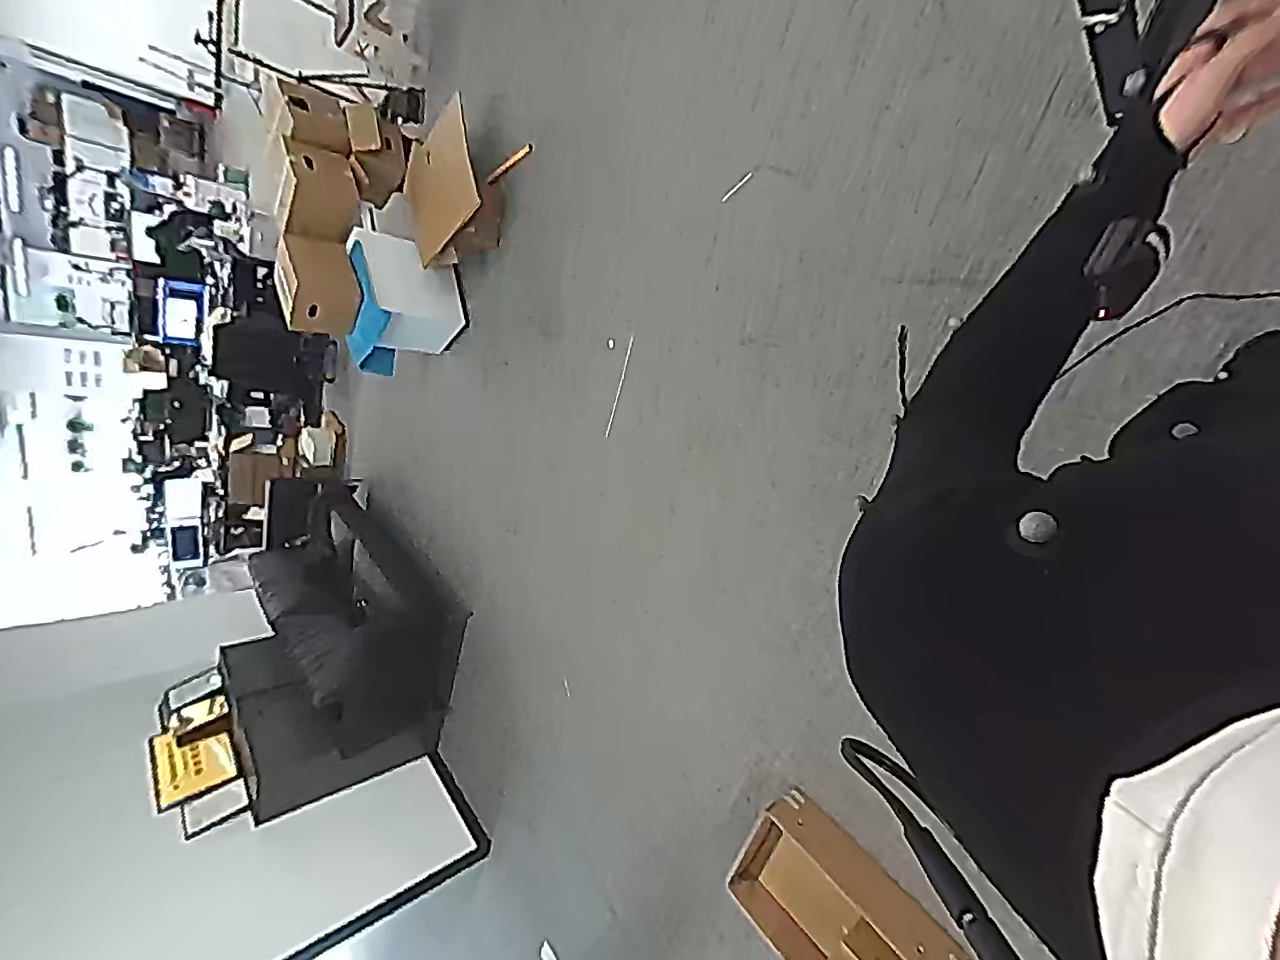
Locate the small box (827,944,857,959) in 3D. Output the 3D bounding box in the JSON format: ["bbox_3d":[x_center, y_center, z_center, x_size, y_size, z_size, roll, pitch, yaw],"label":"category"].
[{"bbox_3d":[0.556,1.443,1.481,0.168,0.176,0.179,32,114,40],"label":"small box"}]

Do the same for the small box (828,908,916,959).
[{"bbox_3d":[0.677,1.425,1.587,0.179,0.176,0.168,36,116,41],"label":"small box"}]
